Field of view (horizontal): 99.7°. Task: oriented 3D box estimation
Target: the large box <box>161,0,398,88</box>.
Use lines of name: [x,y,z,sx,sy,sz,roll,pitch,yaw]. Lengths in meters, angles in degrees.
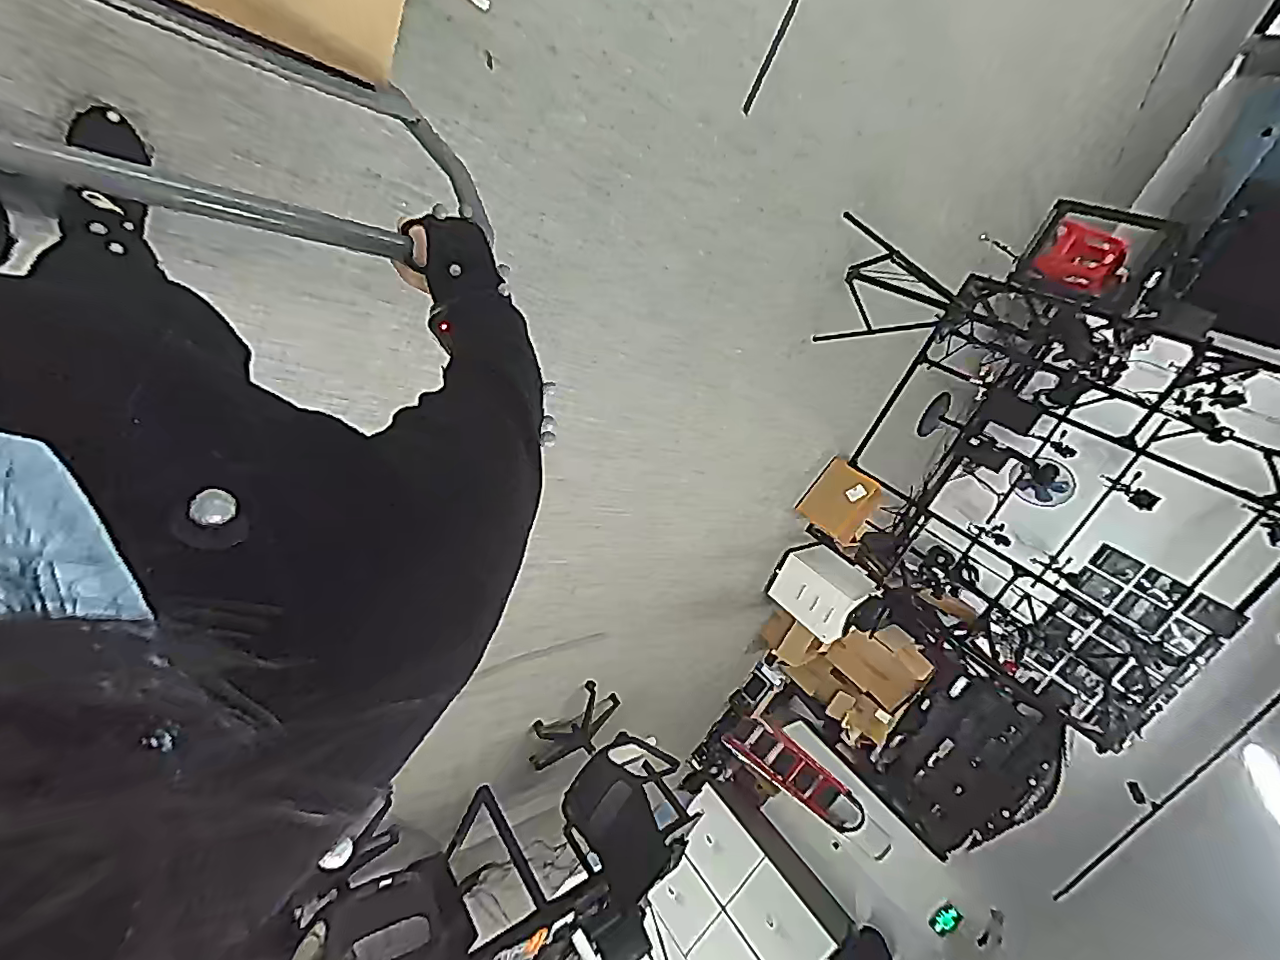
large box: [-0.536,-0.767,0.646,0.408,0.320,0.320,-6,137,-46]
